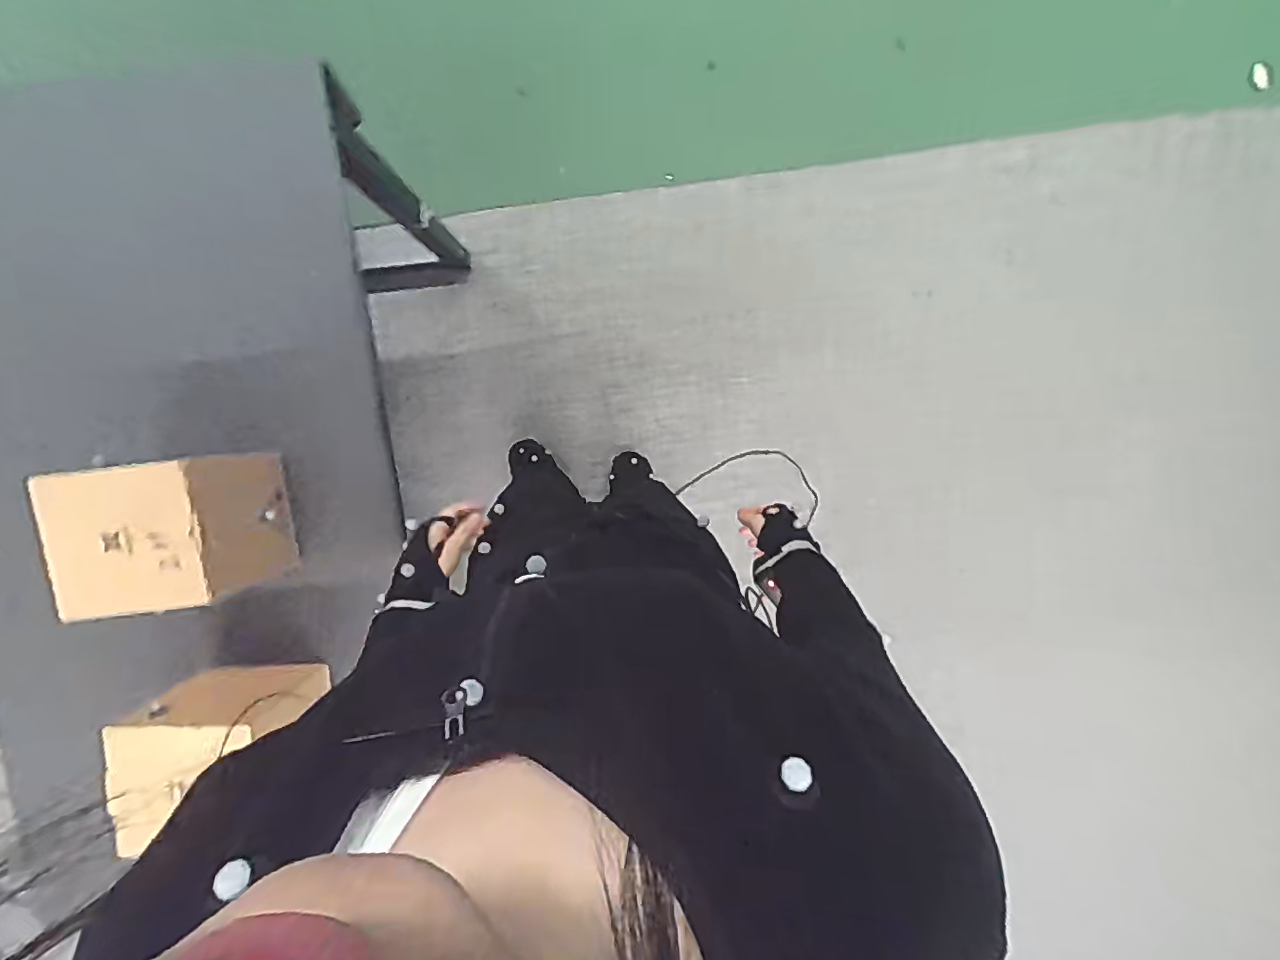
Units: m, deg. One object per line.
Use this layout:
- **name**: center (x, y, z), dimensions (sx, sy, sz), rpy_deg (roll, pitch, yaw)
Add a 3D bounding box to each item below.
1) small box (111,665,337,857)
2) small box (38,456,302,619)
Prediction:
- **small box**: center (-0.530, 0.360, 0.720), dimensions (0.179, 0.176, 0.168), rpy_deg (-2, 96, 1)
- **small box**: center (-0.578, 0.063, 0.689), dimensions (0.179, 0.176, 0.168), rpy_deg (-7, 96, 1)
